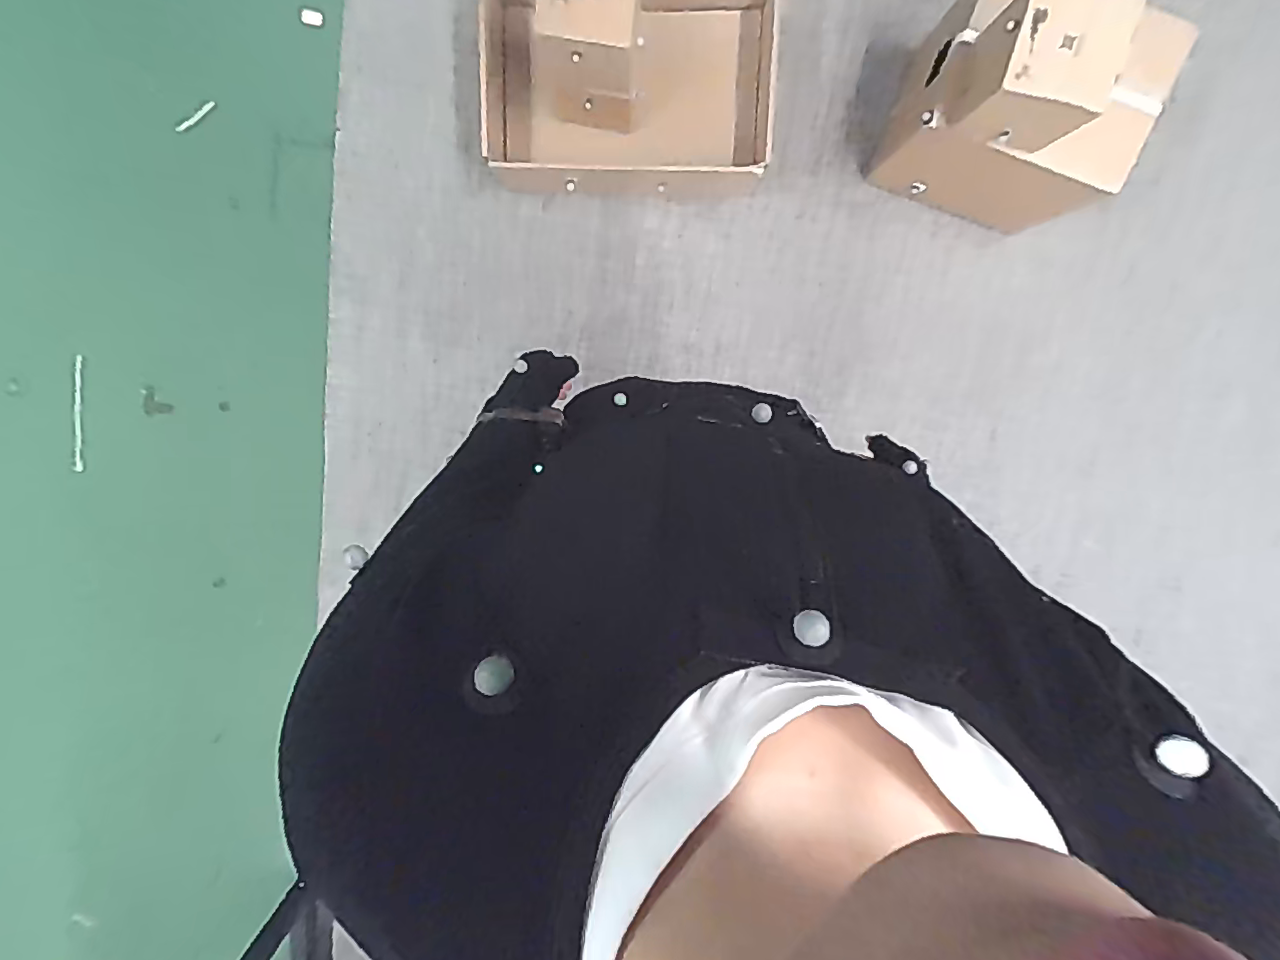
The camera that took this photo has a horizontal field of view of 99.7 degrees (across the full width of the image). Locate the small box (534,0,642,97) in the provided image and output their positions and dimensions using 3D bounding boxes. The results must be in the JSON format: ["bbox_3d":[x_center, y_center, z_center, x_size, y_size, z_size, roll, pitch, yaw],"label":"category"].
[{"bbox_3d":[-0.093,-0.865,1.026,0.179,0.176,0.168,7,100,-3],"label":"small box"}]

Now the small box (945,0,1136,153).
[{"bbox_3d":[0.680,-0.700,0.942,0.179,0.176,0.168,13,101,-2],"label":"small box"}]

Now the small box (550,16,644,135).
[{"bbox_3d":[-0.091,-0.892,1.188,0.179,0.176,0.168,8,100,-3],"label":"small box"}]
